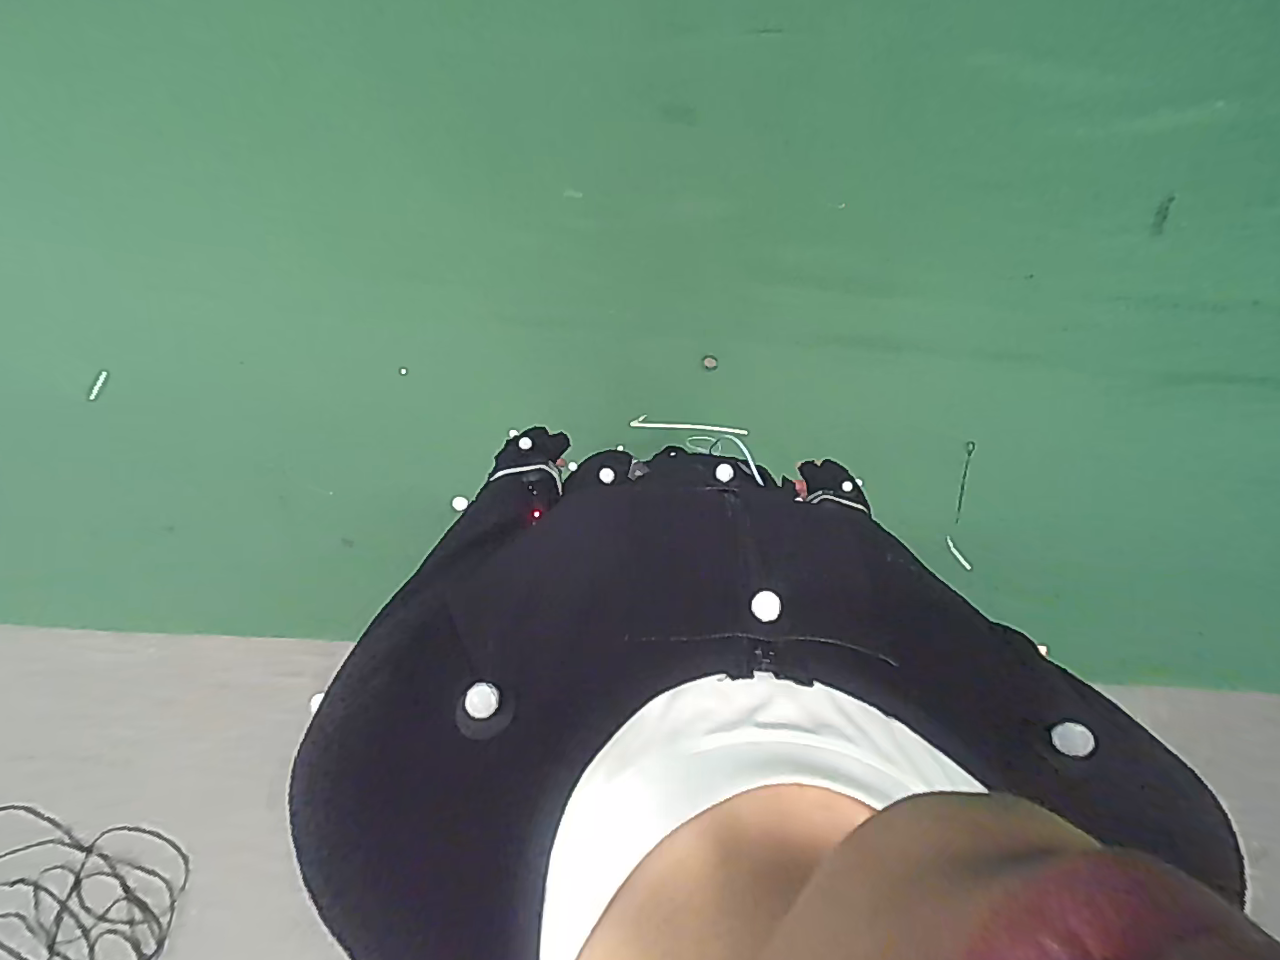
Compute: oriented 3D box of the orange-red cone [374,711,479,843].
[{"bbox_3d":[-0.557,0.766,1.355,0.198,0.360,0.199,3,94,1],"label":"orange-red cone"}]
